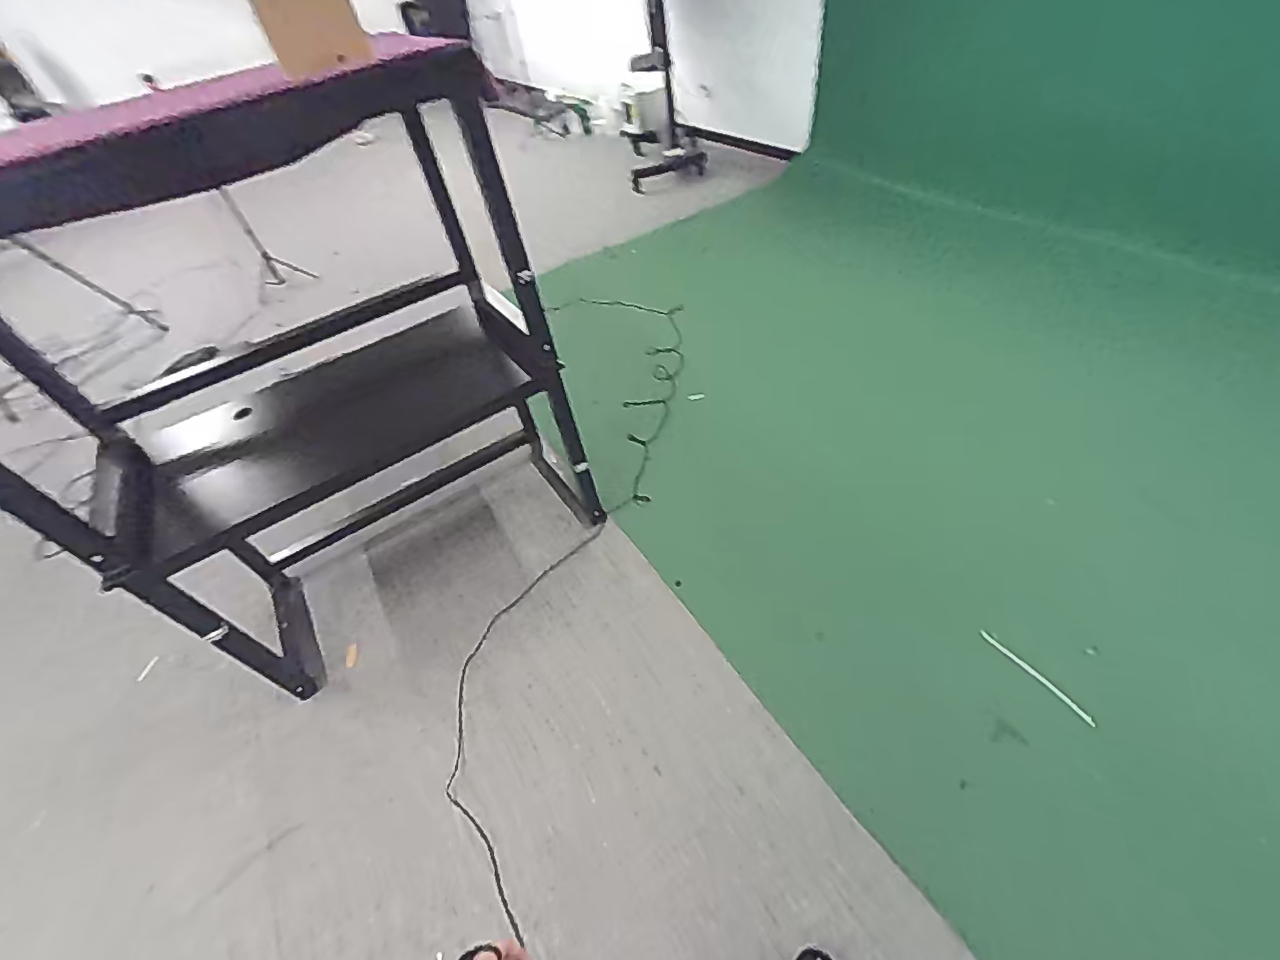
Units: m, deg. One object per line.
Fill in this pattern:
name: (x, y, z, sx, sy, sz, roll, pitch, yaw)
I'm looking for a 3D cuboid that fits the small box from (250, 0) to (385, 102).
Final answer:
small box: (-0.616, -0.845, 1.034, 0.168, 0.176, 0.179, -27, 47, -14)
